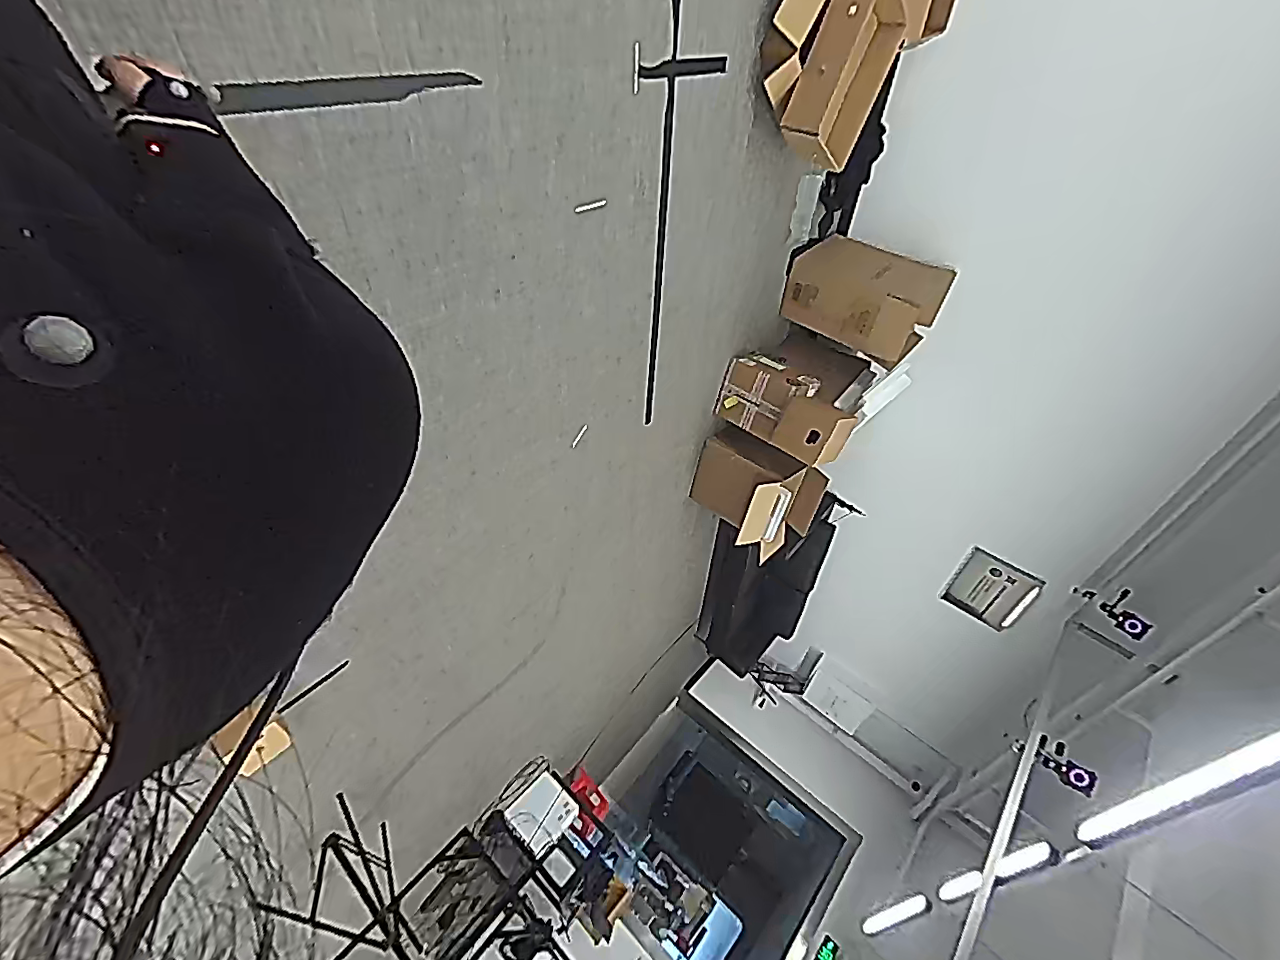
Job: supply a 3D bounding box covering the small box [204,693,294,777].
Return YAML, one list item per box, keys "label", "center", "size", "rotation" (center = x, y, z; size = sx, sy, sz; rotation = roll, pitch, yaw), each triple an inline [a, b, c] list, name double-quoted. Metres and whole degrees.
- label: "small box"
  center: [-1.326, 0.860, 1.837]
  size: [0.168, 0.176, 0.179]
  rotation: [-38, 148, -33]
